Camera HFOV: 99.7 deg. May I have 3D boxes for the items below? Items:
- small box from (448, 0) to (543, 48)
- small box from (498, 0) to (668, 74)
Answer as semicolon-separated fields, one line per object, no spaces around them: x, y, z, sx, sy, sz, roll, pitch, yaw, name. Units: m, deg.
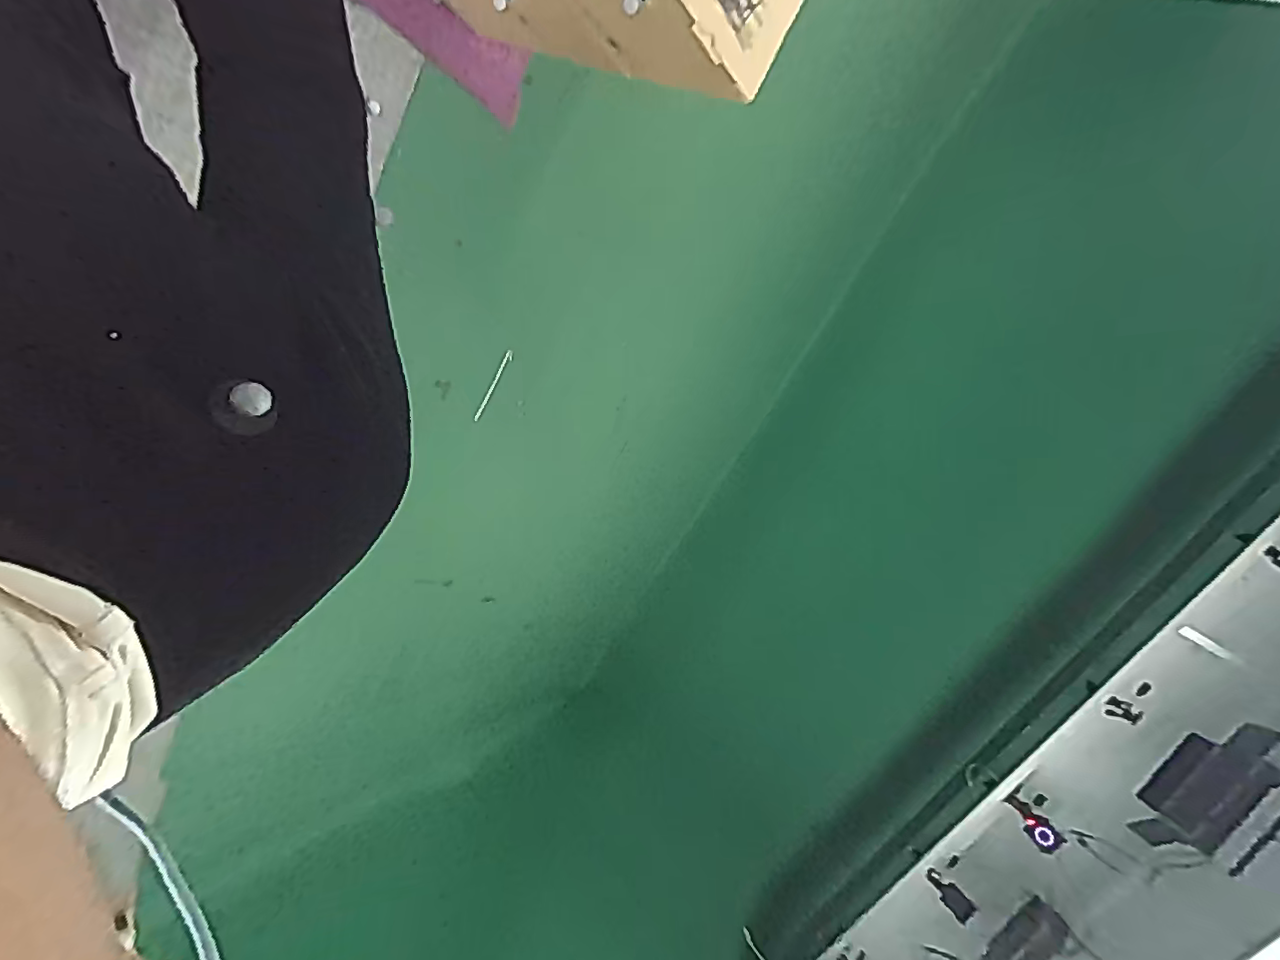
-0.180;-0.665;0.631;0.179;0.176;0.168;9;116;-58;small box
-0.067;-0.576;0.555;0.168;0.176;0.179;10;116;-57;small box
